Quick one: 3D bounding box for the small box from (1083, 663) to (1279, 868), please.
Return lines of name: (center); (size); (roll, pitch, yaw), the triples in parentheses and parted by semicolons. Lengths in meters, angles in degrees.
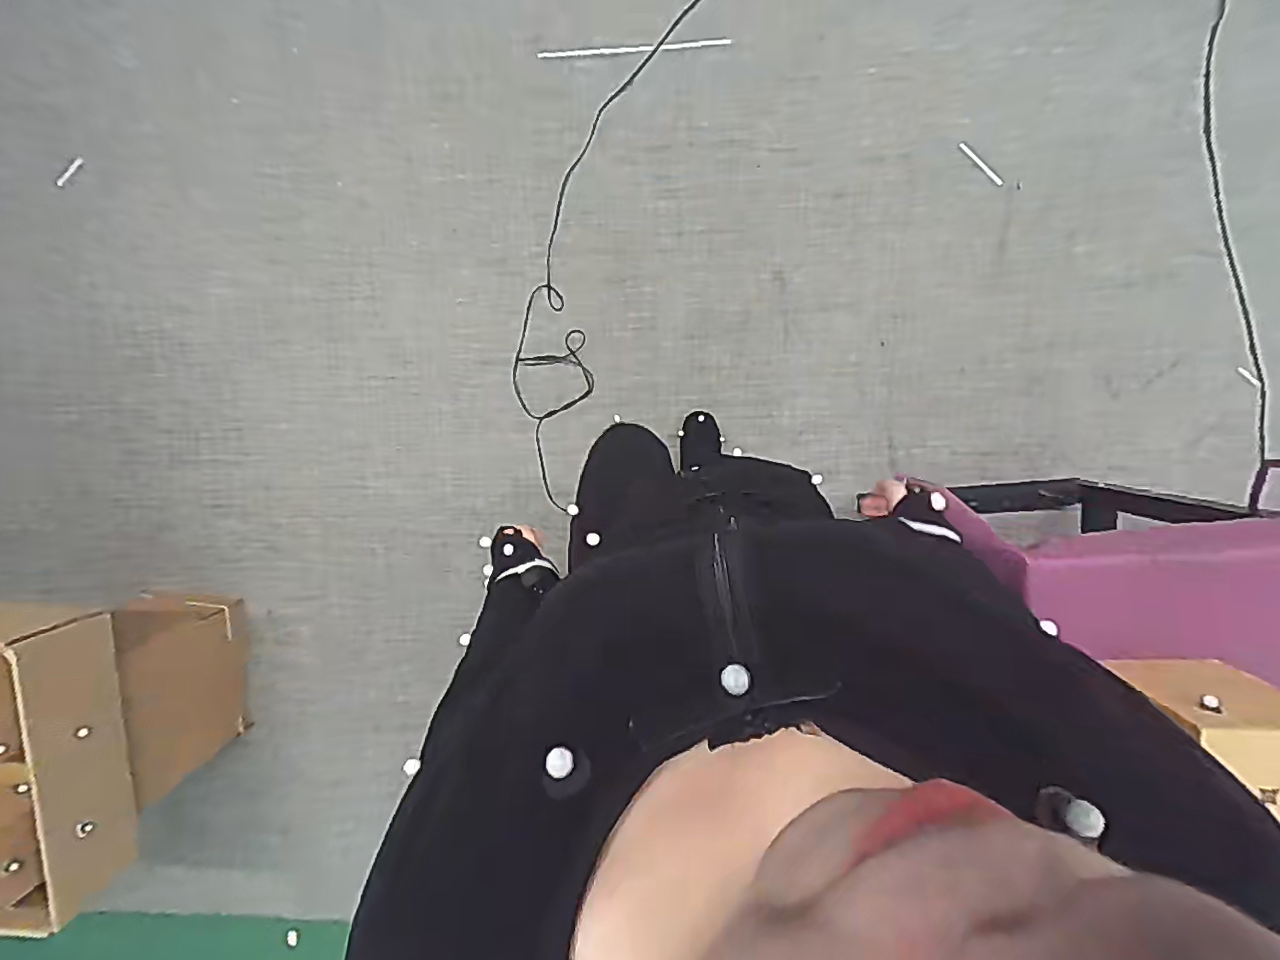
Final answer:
small box: (0.709, 0.346, 0.680); (0.179, 0.176, 0.168); (-1, 98, 3)
